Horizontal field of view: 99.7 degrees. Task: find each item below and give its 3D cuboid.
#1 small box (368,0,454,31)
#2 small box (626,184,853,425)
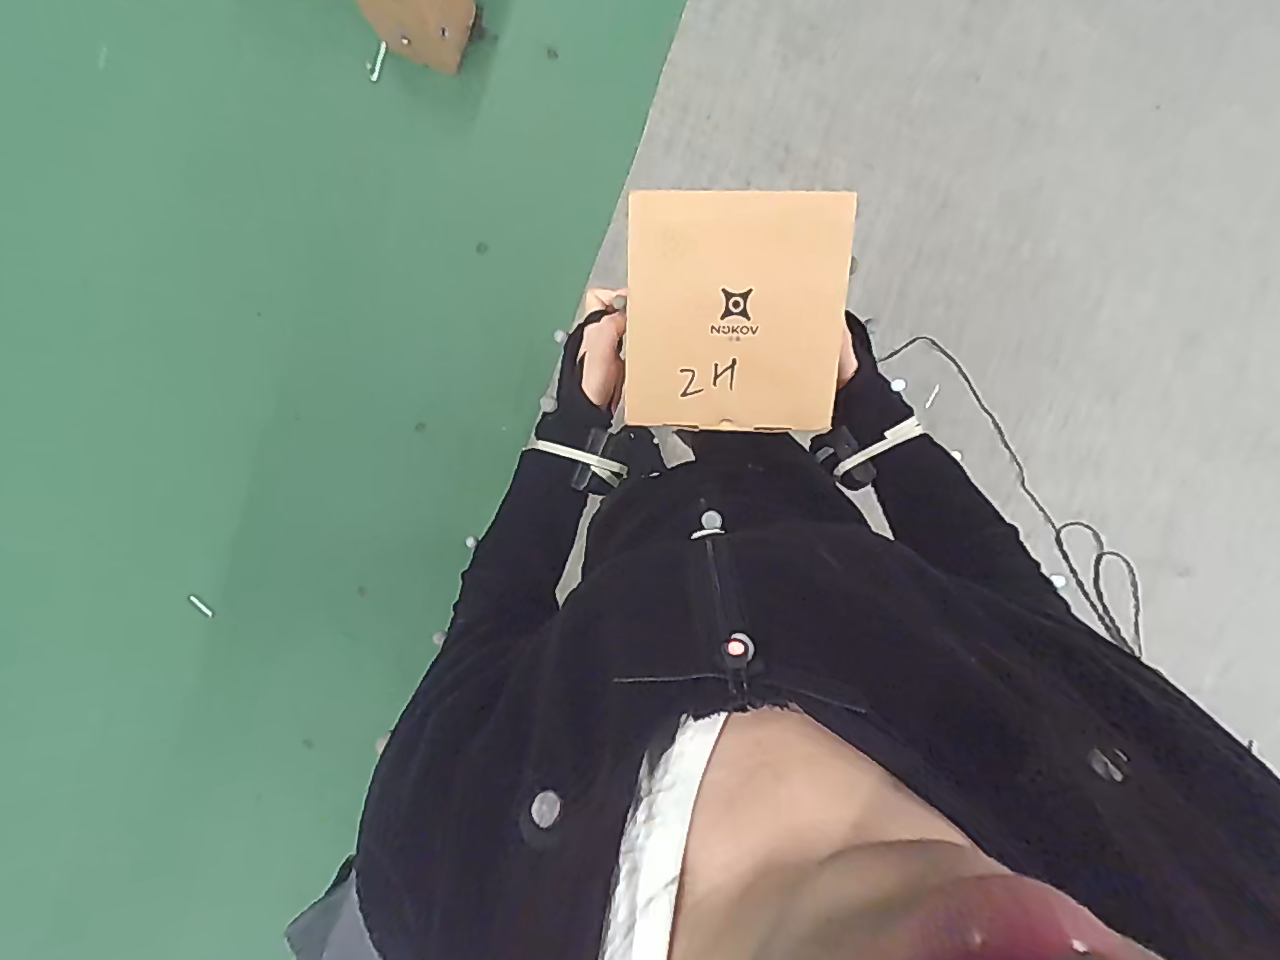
[{"bbox_3d":[-0.482,-1.065,1.087,0.179,0.176,0.168,21,97,-4],"label":"small box"},{"bbox_3d":[0.078,-0.150,0.492,0.168,0.176,0.179,2,105,5],"label":"small box"}]
